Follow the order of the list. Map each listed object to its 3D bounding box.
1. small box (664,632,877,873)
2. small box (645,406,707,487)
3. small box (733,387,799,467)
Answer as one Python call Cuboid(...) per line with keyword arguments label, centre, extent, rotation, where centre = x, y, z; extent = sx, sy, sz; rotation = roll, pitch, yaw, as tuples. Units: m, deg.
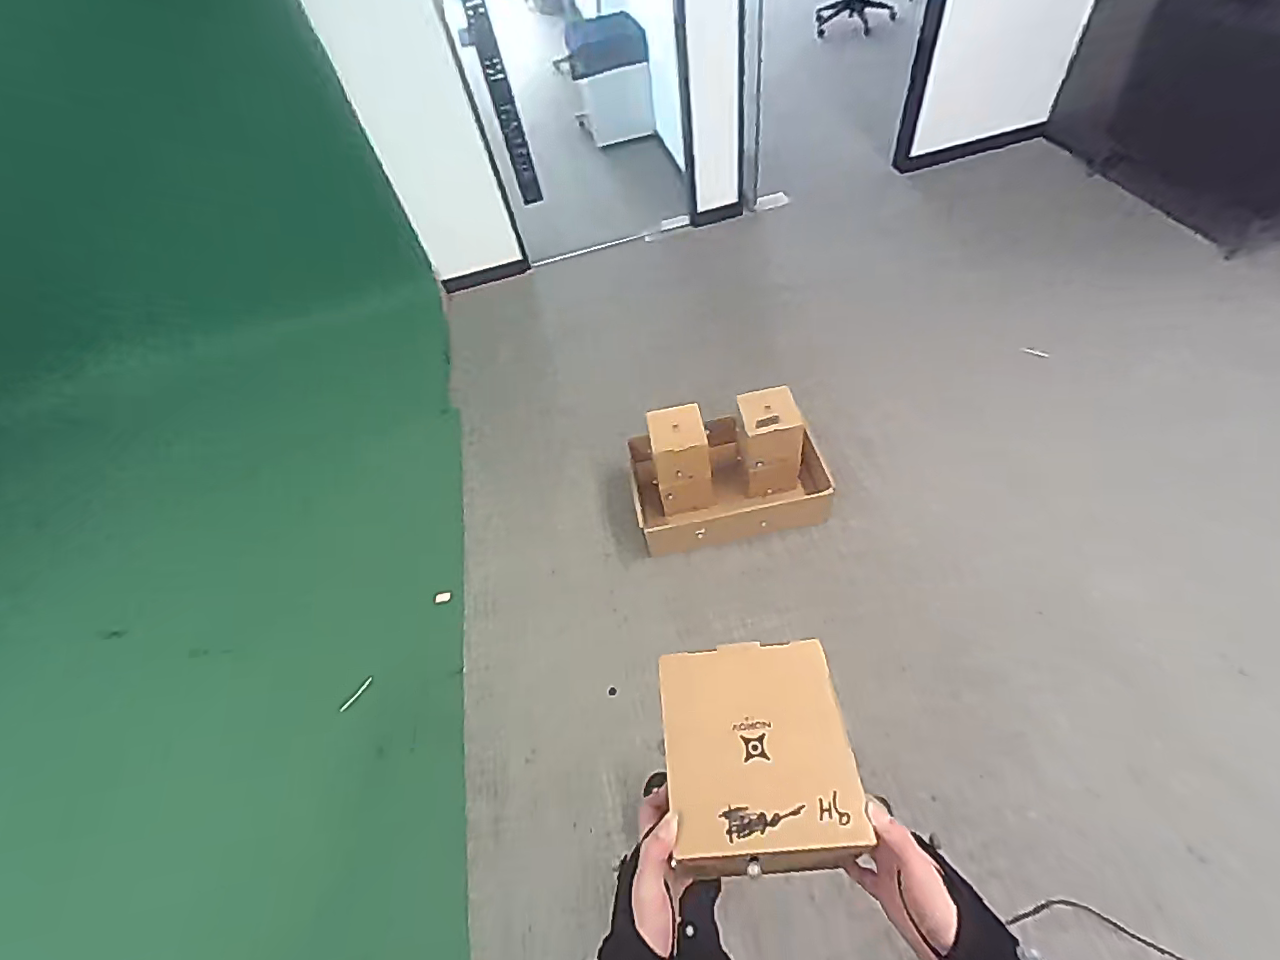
Cuboid(label="small box", centre=(0.115, 0.277, 0.546), extent=(0.168, 0.176, 0.179), rotation=(-6, 48, 5))
Cuboid(label="small box", centre=(0.112, -0.103, 1.693), extent=(0.168, 0.176, 0.179), rotation=(-10, 52, 1))
Cuboid(label="small box", centre=(0.390, -0.156, 1.683), extent=(0.168, 0.176, 0.179), rotation=(-11, 51, 3))
